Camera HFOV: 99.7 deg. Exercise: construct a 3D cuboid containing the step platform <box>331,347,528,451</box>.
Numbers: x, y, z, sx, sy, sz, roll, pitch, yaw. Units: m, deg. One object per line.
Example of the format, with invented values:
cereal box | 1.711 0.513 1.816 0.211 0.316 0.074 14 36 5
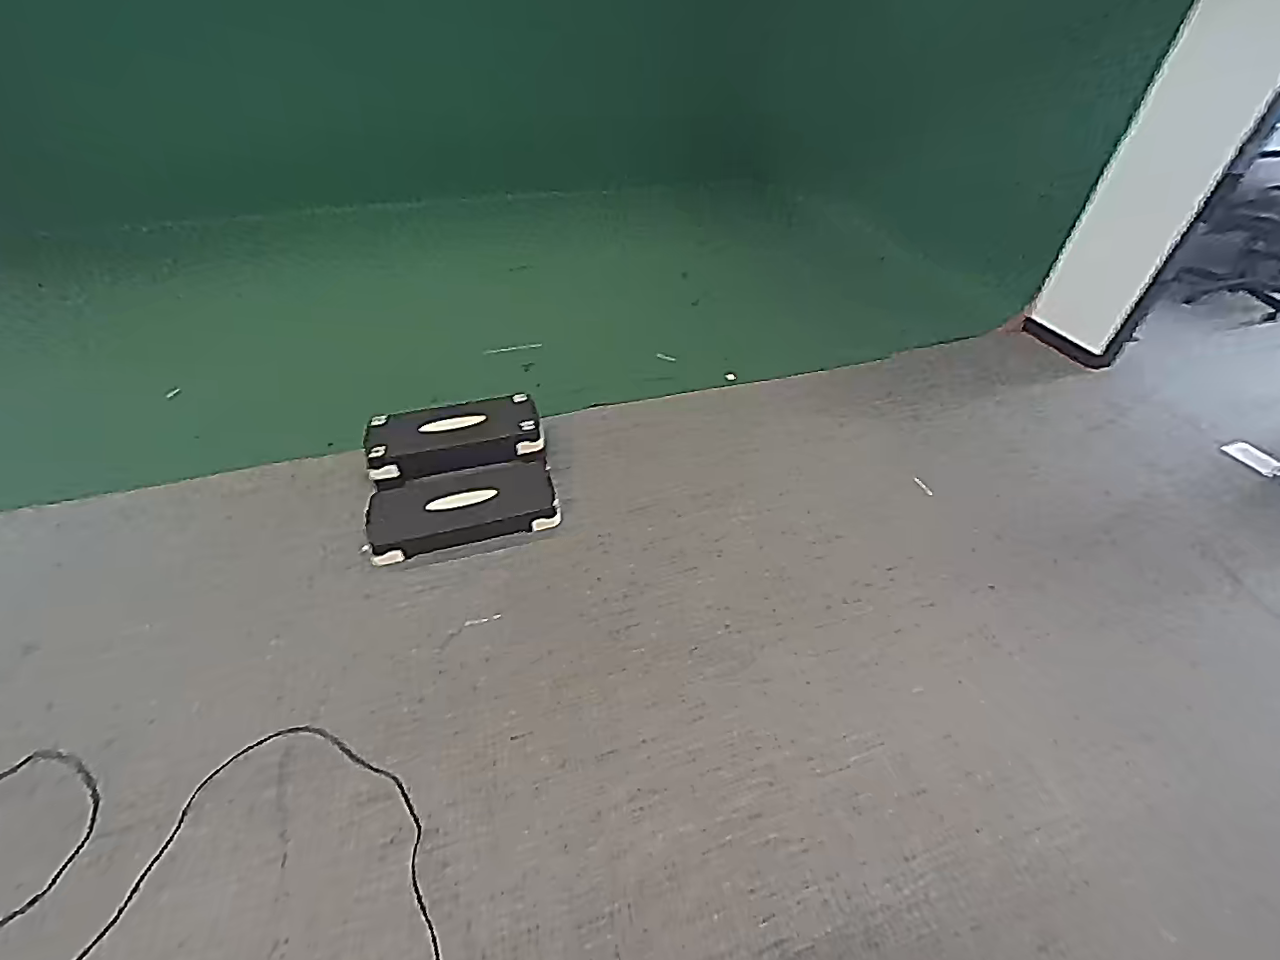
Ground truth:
step platform | -0.777 -0.316 2.066 0.684 0.204 0.286 -12 46 -12
